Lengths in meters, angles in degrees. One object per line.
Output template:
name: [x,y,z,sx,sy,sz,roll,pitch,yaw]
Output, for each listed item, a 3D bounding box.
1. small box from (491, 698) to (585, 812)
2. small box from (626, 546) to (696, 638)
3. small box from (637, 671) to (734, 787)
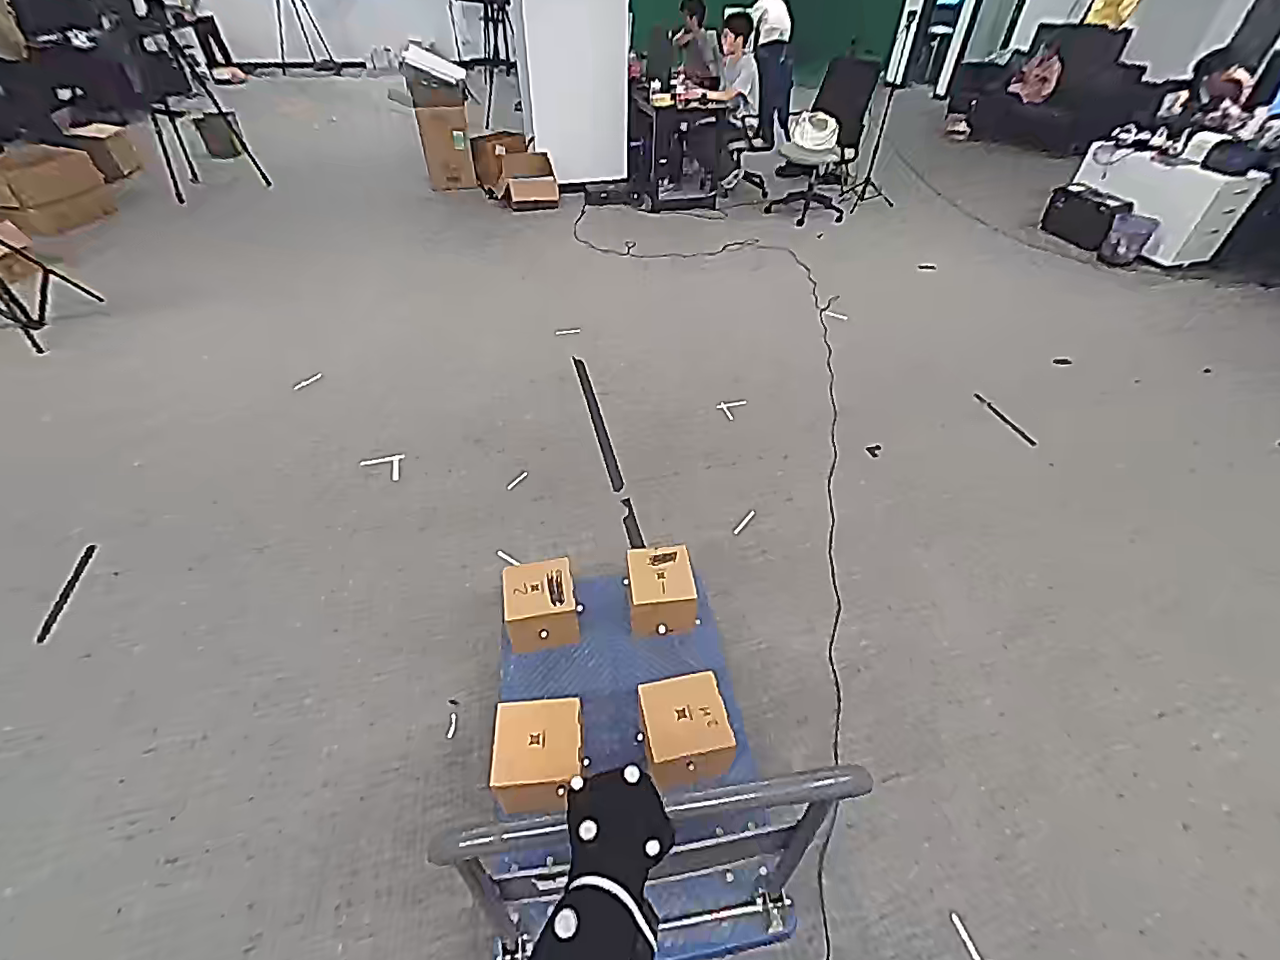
small box: [-0.210,0.590,1.156,0.179,0.176,0.168,-2,43,-6]
small box: [0.050,0.303,1.466,0.168,0.176,0.179,-4,45,-6]
small box: [0.094,0.554,1.198,0.179,0.176,0.168,-8,44,-9]
